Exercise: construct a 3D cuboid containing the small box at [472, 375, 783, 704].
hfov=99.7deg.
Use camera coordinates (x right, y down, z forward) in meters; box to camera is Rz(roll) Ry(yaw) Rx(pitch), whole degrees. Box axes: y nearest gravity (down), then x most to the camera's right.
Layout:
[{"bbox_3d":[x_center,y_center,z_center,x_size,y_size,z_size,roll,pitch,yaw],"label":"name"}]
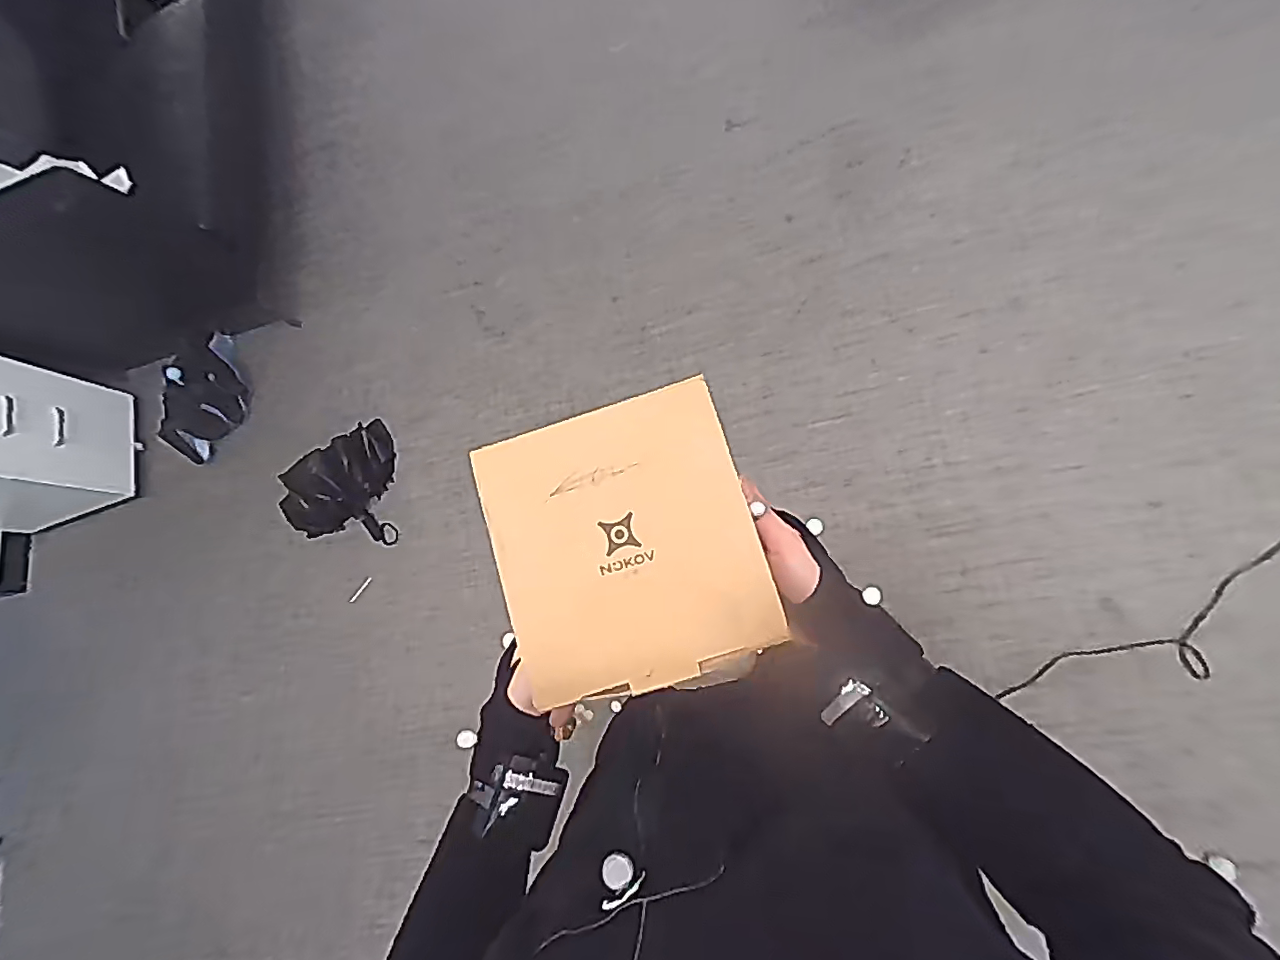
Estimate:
[{"bbox_3d":[-0.003,0.046,0.423,0.168,0.176,0.179,-18,80,4],"label":"small box"}]
